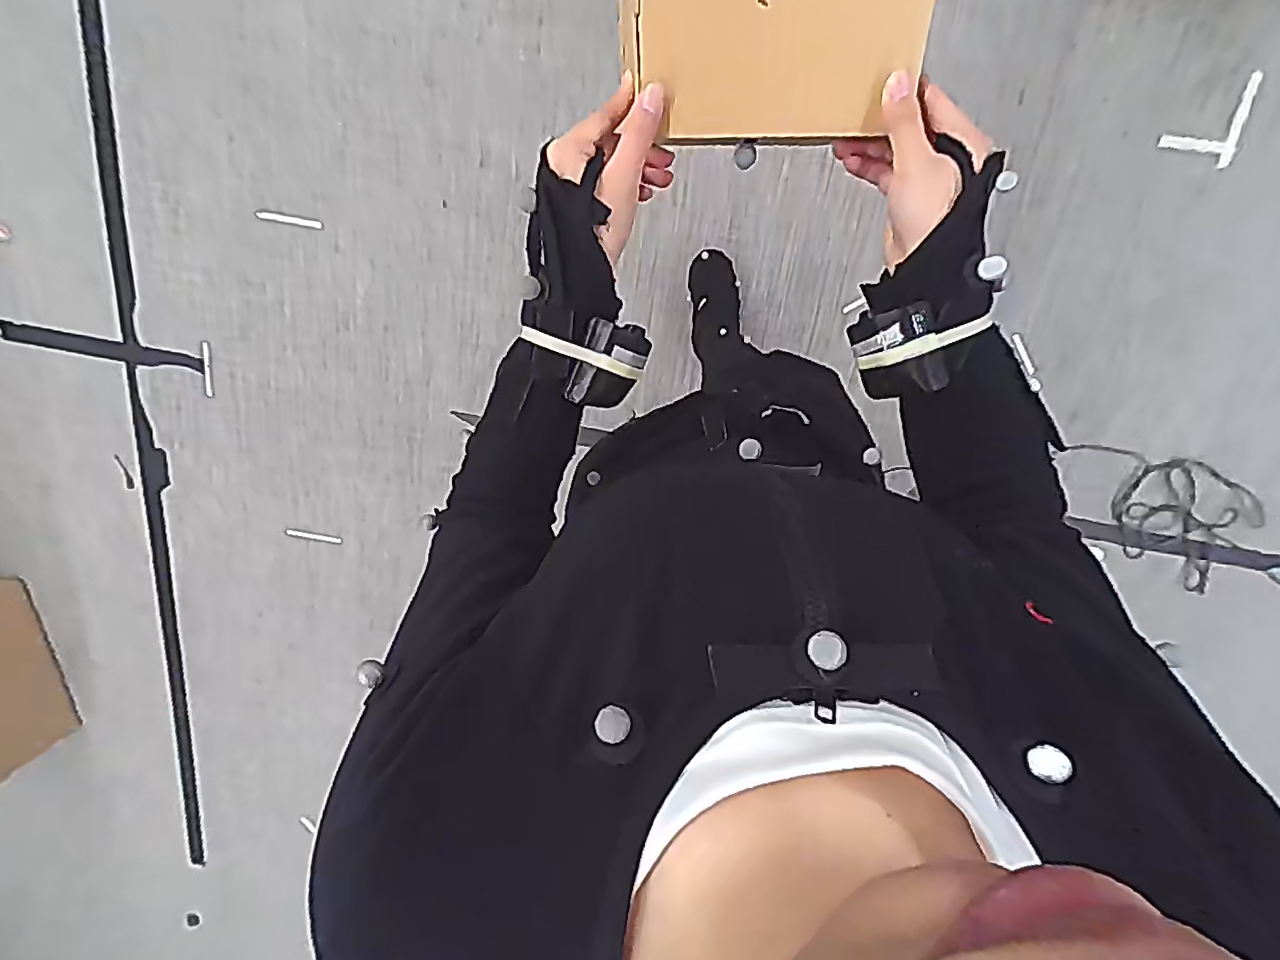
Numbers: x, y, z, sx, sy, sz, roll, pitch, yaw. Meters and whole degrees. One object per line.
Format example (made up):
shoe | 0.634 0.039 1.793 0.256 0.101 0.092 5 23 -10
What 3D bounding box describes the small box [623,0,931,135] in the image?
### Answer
small box | 0.079 -0.336 0.367 0.179 0.176 0.168 -2 121 -2
